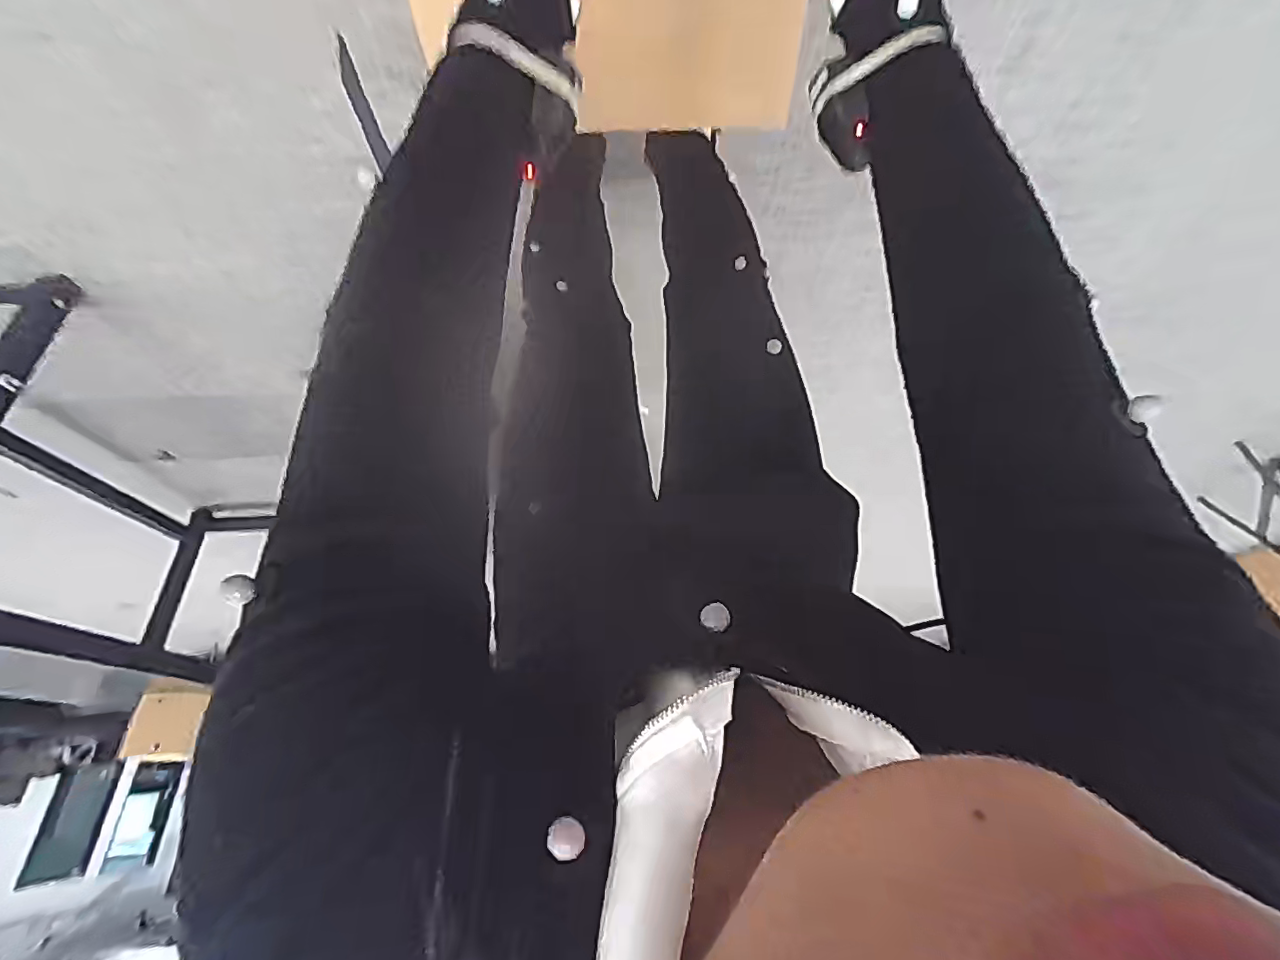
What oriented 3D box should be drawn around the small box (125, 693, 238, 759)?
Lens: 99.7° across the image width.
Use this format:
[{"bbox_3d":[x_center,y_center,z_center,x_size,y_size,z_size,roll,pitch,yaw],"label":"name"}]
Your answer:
[{"bbox_3d":[-1.359,0.738,1.618,0.168,0.176,0.179,-3,152,2],"label":"small box"}]
